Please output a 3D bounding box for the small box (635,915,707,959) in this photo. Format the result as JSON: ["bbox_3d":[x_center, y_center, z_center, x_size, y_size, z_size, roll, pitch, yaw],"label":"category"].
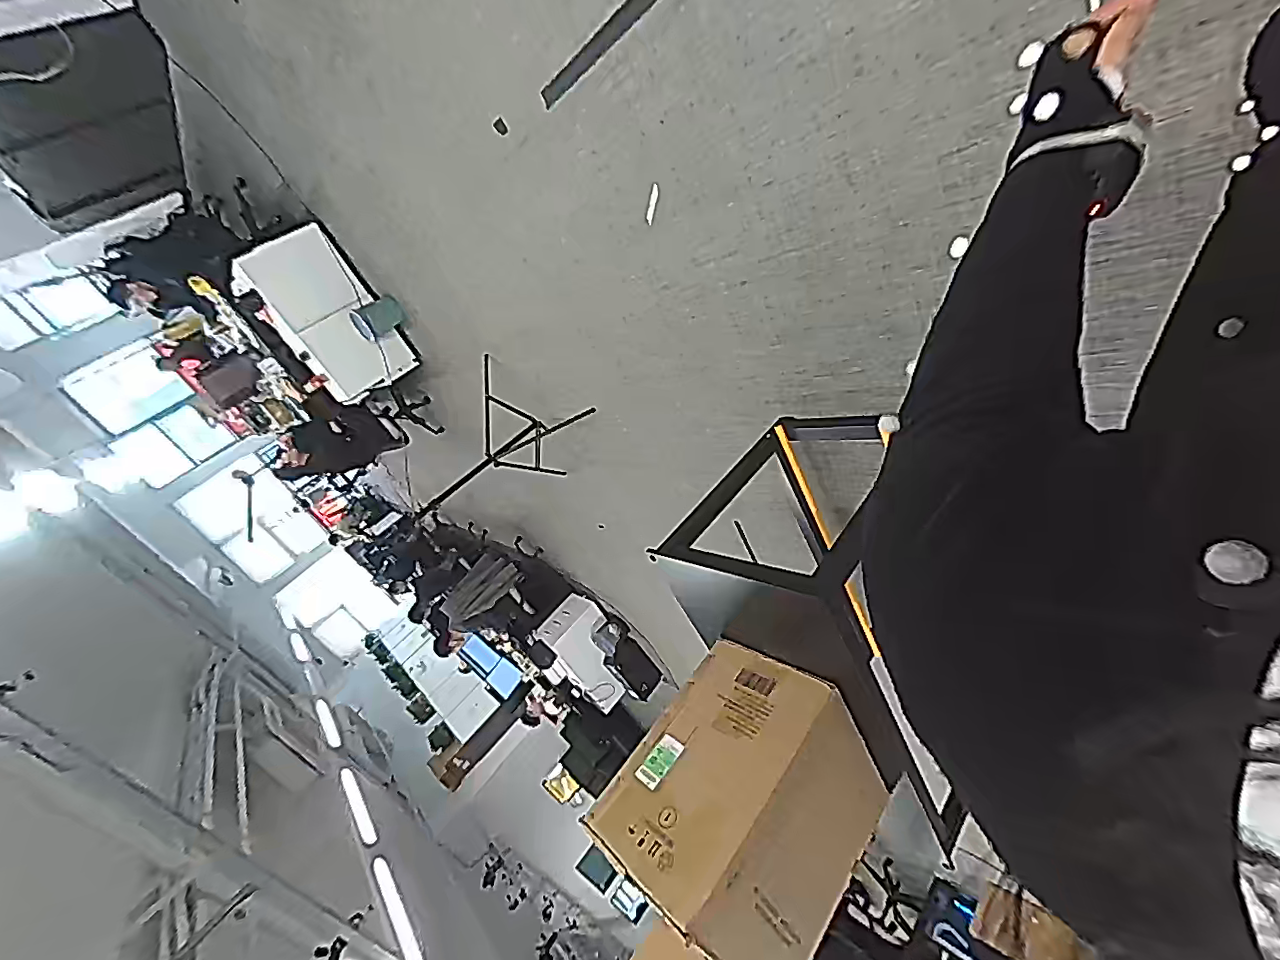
[{"bbox_3d":[0.092,1.266,1.366,0.179,0.176,0.168,5,132,53],"label":"small box"}]
